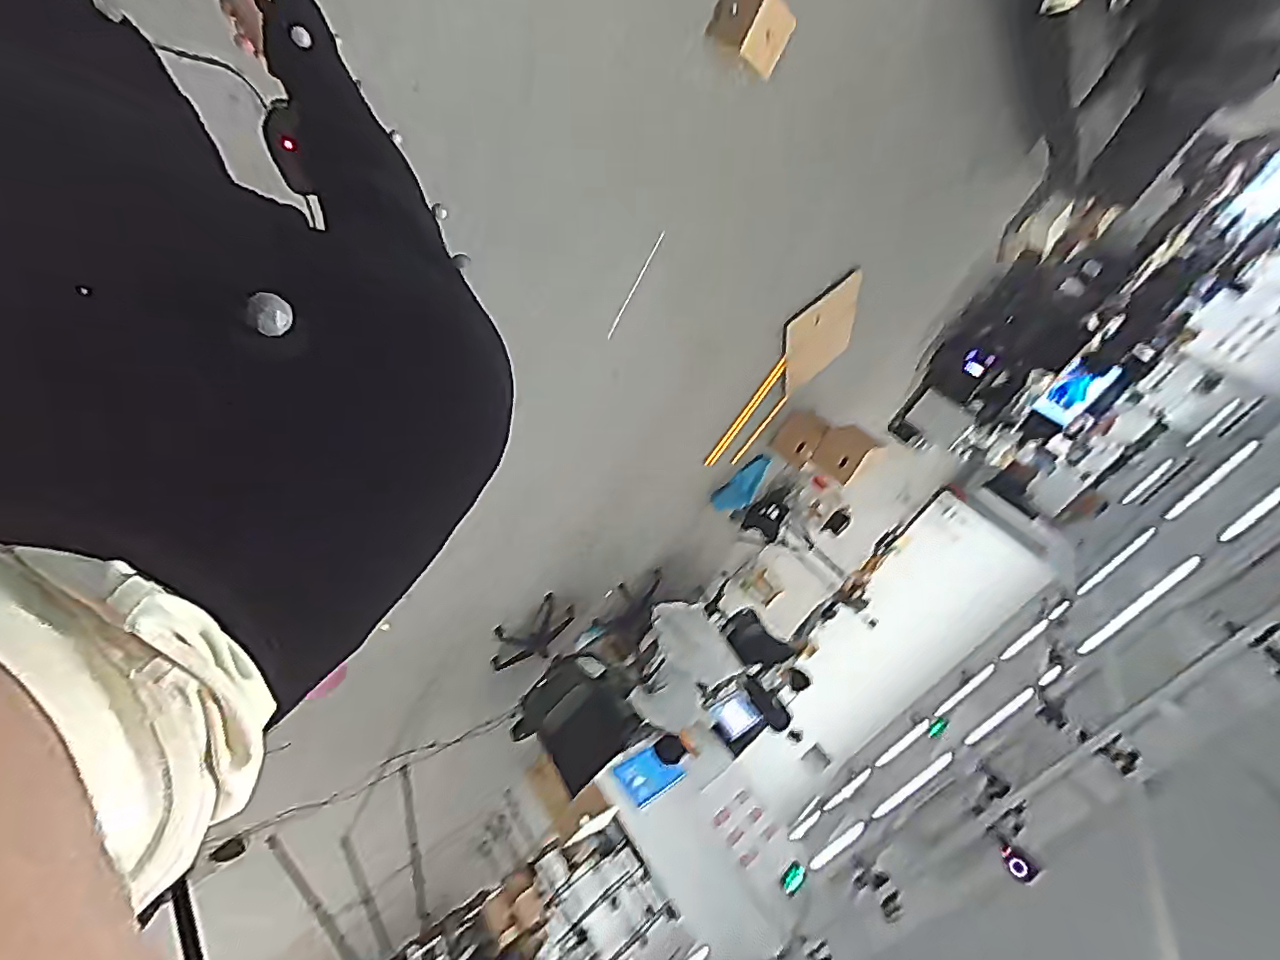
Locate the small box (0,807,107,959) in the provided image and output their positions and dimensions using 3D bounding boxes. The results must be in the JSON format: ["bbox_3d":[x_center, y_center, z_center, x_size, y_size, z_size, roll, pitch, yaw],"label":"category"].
[{"bbox_3d":[-0.935,0.635,0.815,0.168,0.176,0.179,0,129,-50],"label":"small box"}]

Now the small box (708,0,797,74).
[{"bbox_3d":[0.343,-1.407,1.669,0.179,0.176,0.168,-4,133,-49],"label":"small box"}]
